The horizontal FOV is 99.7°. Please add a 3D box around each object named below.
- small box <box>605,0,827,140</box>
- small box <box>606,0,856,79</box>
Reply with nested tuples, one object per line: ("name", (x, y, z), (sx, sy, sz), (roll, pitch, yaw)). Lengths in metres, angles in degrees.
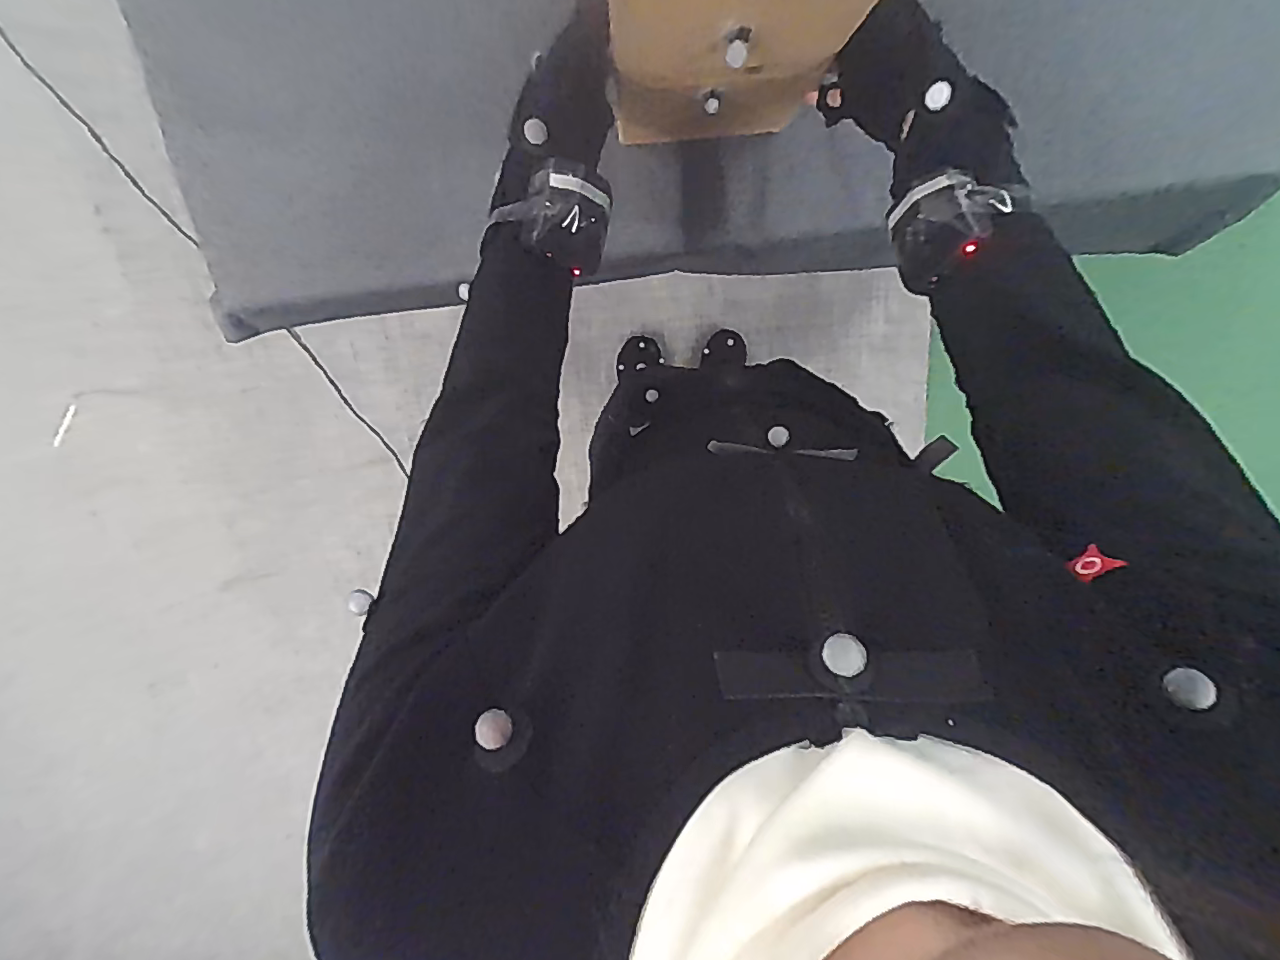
("small box", (0.058, -0.429, 0.492), (0.179, 0.176, 0.168), (-5, 107, 0))
("small box", (0.056, -0.379, 0.336), (0.168, 0.176, 0.179), (-5, 108, 1))
